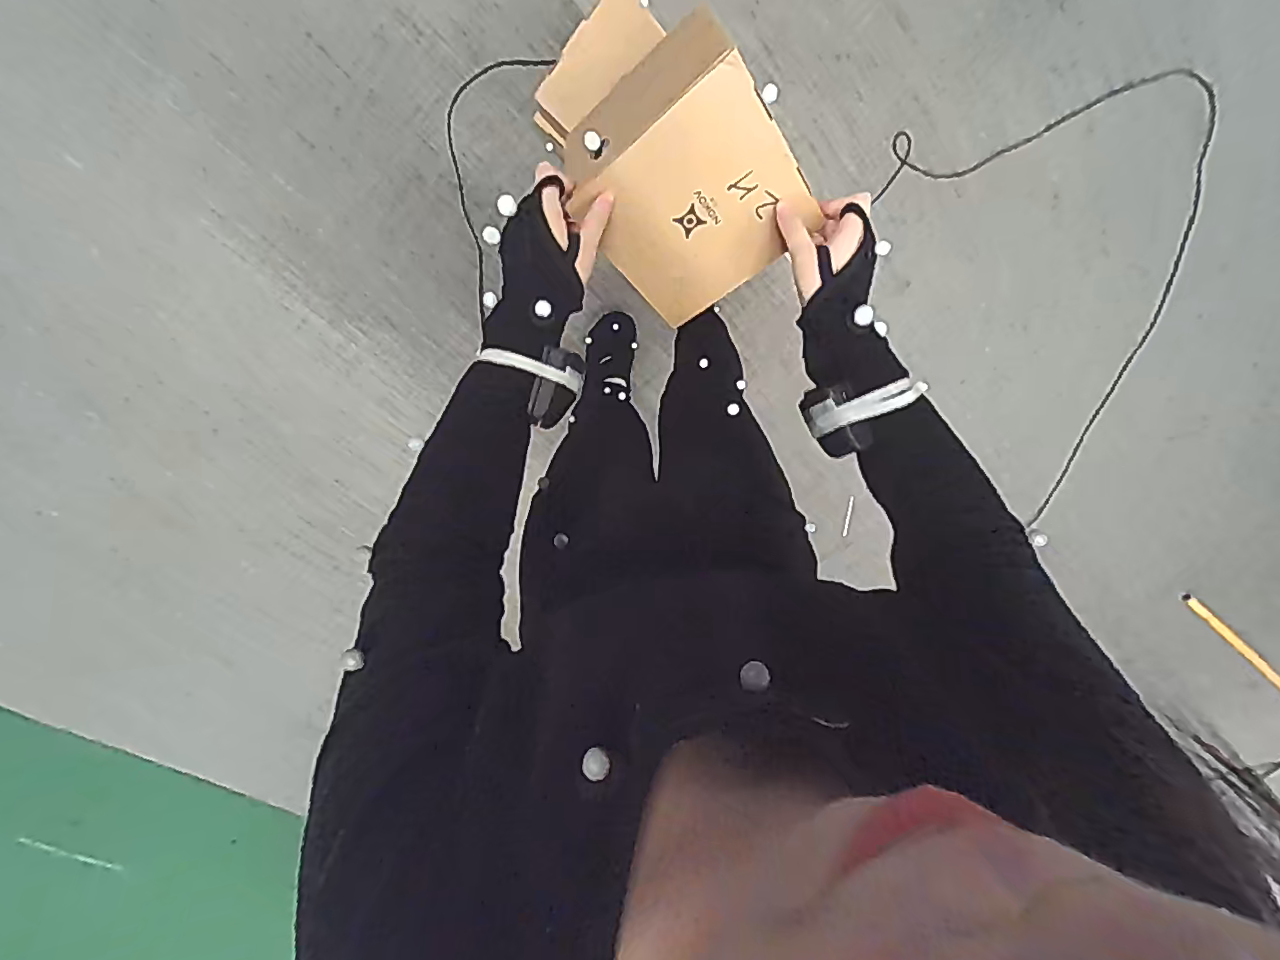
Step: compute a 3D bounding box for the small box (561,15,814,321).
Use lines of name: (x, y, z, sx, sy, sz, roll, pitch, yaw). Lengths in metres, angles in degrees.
small box: (0.042, -0.304, 0.540, 0.179, 0.176, 0.168, -30, 135, 27)

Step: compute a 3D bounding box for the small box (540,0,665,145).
small box: (-0.019, -0.531, 0.779, 0.179, 0.176, 0.168, 38, 108, -20)
